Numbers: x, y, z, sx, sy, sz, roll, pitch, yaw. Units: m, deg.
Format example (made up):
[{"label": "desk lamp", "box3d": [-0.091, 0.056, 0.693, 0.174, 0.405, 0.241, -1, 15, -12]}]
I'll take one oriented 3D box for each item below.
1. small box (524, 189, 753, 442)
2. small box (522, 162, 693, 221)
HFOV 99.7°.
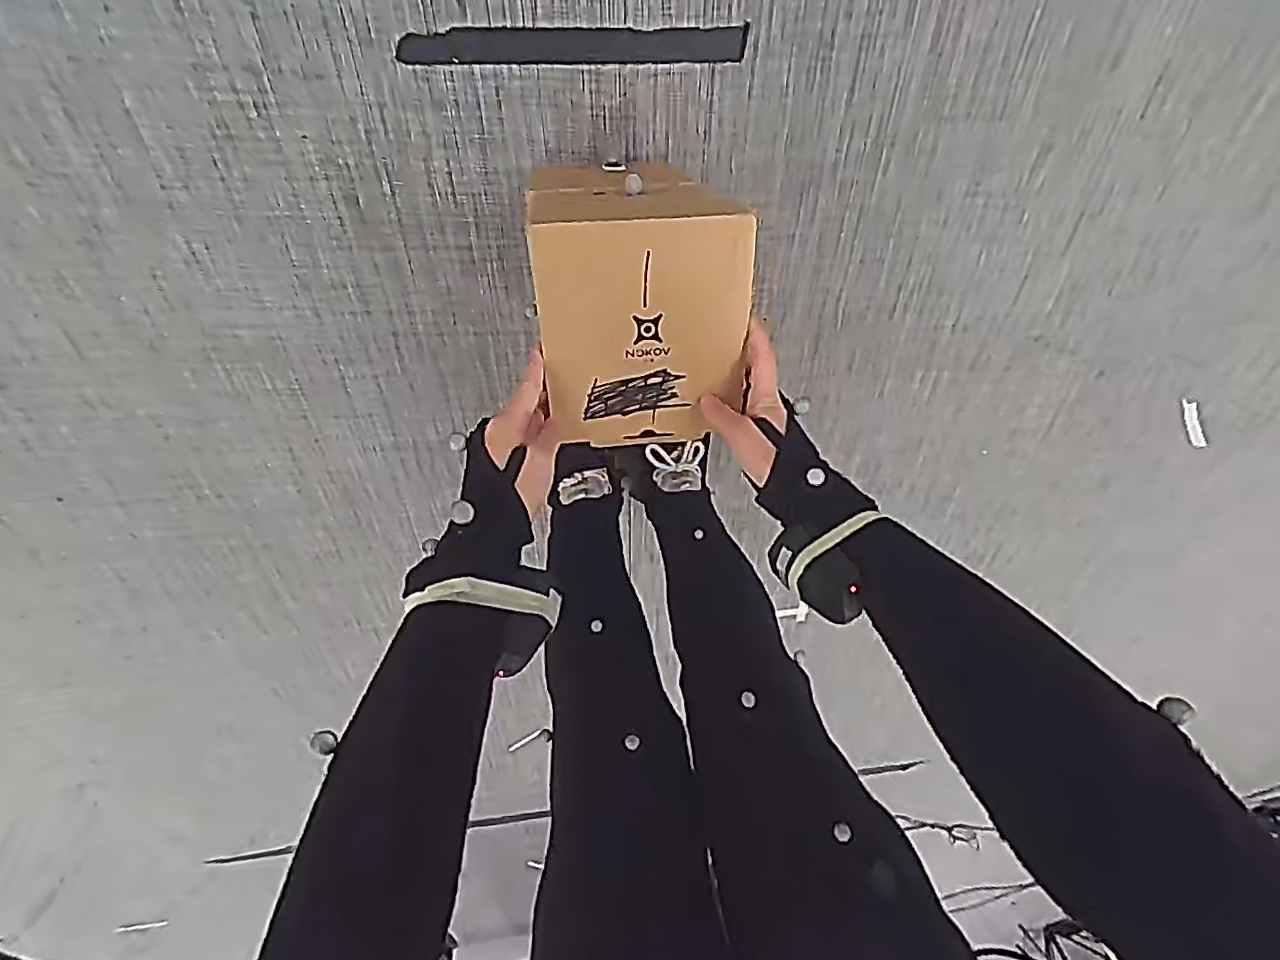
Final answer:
[{"label": "small box", "box3d": [-0.008, -0.154, 0.492, 0.168, 0.176, 0.179, -5, 125, -6]}, {"label": "small box", "box3d": [-0.038, -0.254, 0.624, 0.168, 0.176, 0.179, -7, 127, -6]}]
